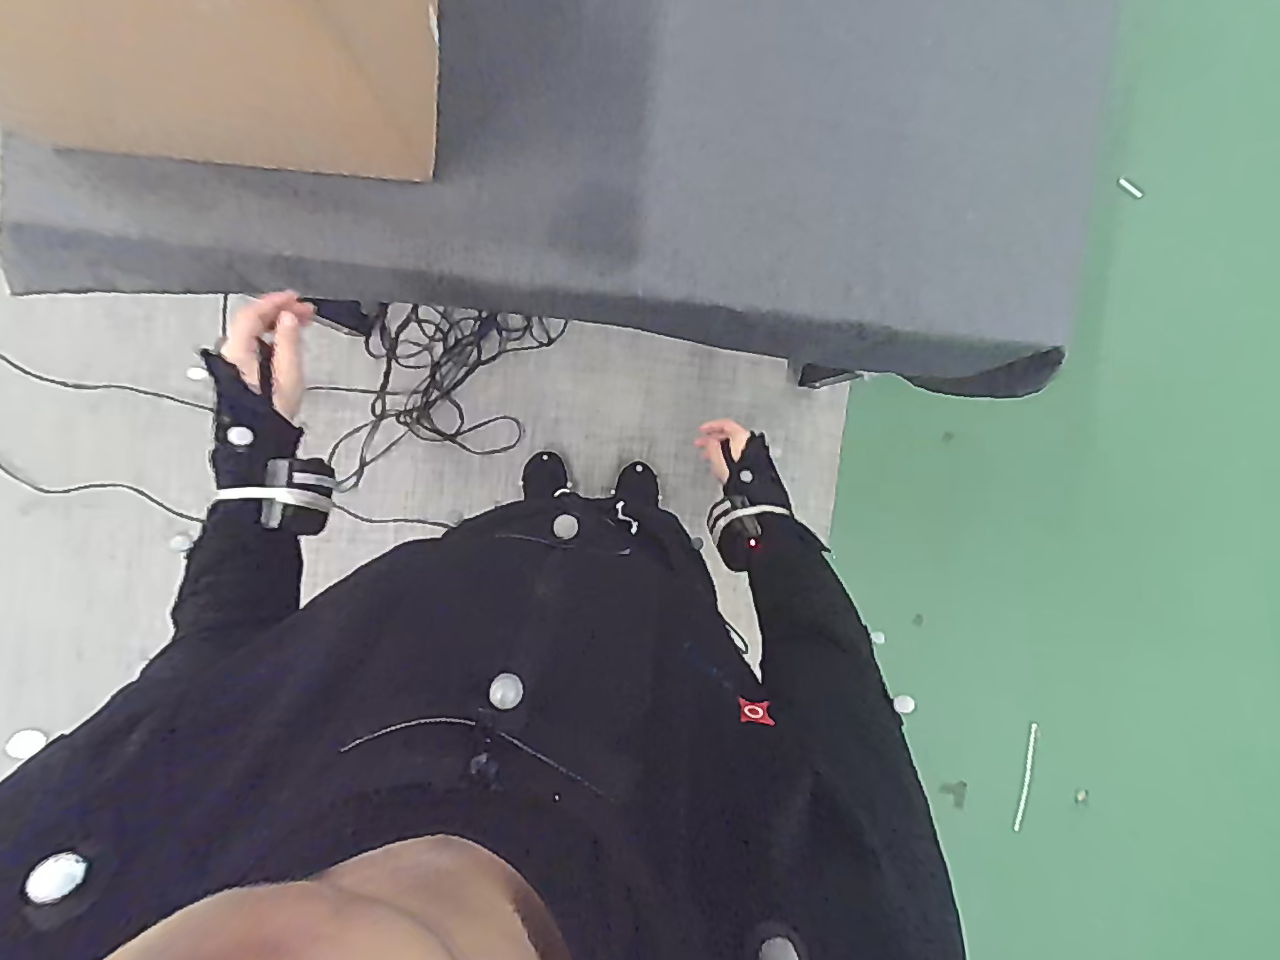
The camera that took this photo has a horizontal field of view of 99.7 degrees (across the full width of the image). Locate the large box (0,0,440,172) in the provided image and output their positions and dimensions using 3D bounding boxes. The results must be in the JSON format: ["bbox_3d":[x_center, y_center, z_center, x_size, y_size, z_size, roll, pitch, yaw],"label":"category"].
[{"bbox_3d":[-0.400,-0.484,0.423,0.408,0.320,0.320,2,94,-6],"label":"large box"}]
